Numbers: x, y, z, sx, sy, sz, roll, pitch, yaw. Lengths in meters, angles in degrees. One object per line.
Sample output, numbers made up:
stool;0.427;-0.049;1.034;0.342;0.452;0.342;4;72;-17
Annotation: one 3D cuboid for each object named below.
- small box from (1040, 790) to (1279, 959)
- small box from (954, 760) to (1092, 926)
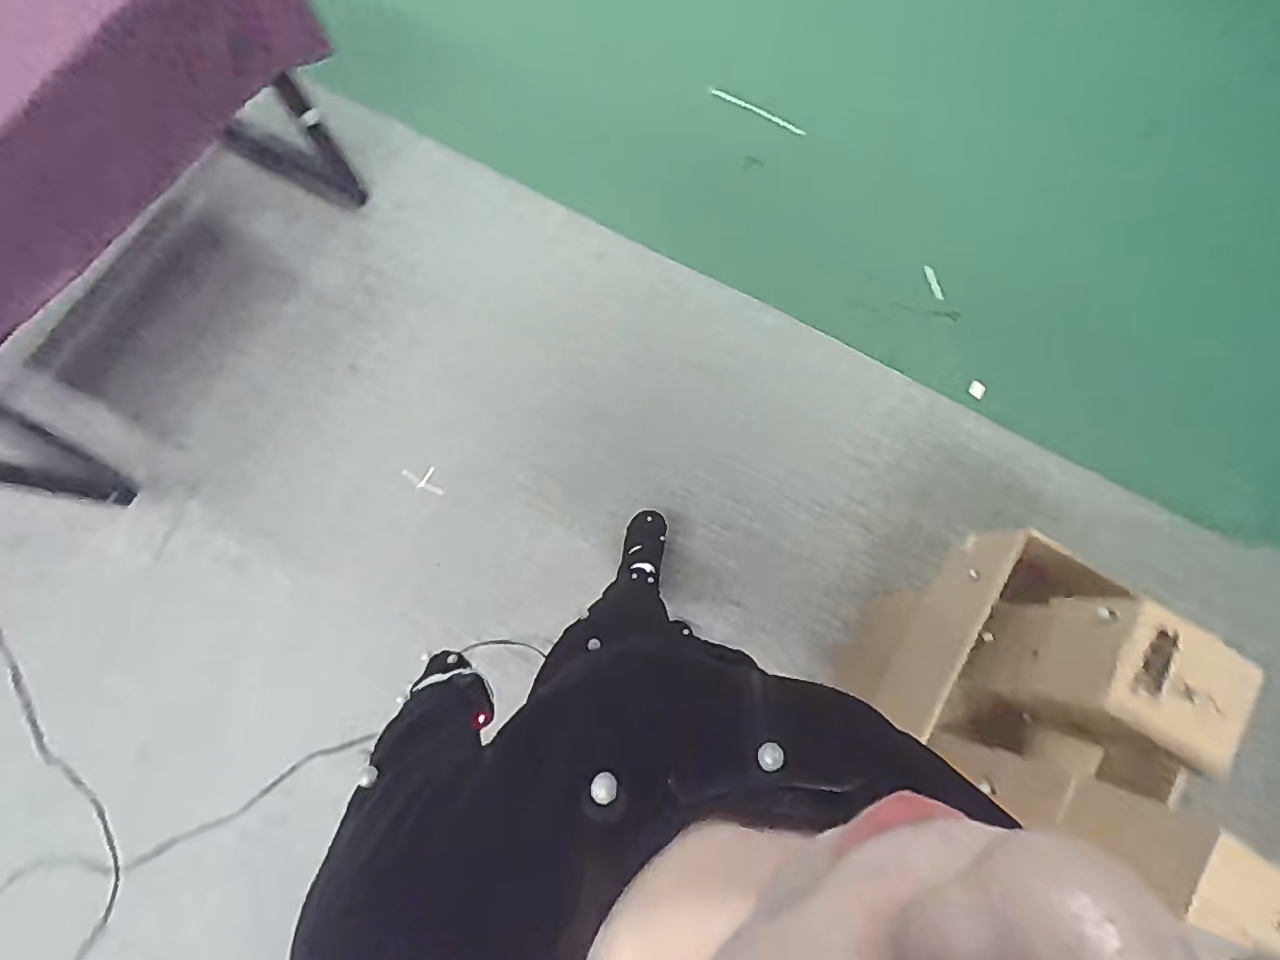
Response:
small box;0.578;0.475;0.572;0.168;0.176;0.179;37;78;7
small box;0.580;0.515;0.732;0.179;0.176;0.168;35;78;8
